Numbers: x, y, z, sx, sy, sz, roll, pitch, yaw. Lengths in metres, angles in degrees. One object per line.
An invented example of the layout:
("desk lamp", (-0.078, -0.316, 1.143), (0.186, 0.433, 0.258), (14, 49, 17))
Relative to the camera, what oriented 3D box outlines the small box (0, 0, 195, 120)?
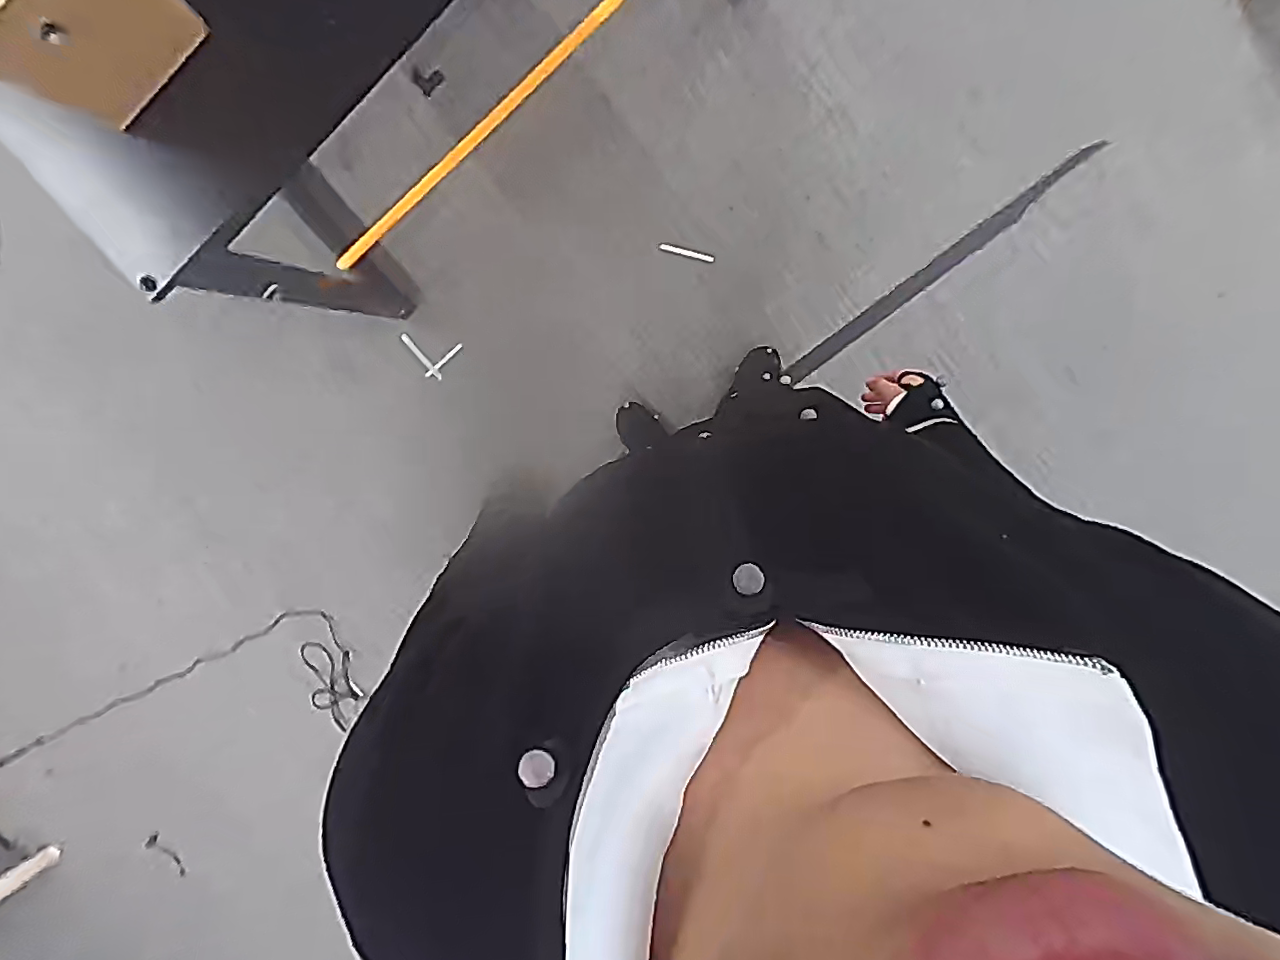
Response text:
("small box", (-0.651, -0.543, 0.585), (0.179, 0.176, 0.168), (-38, 99, 9))
